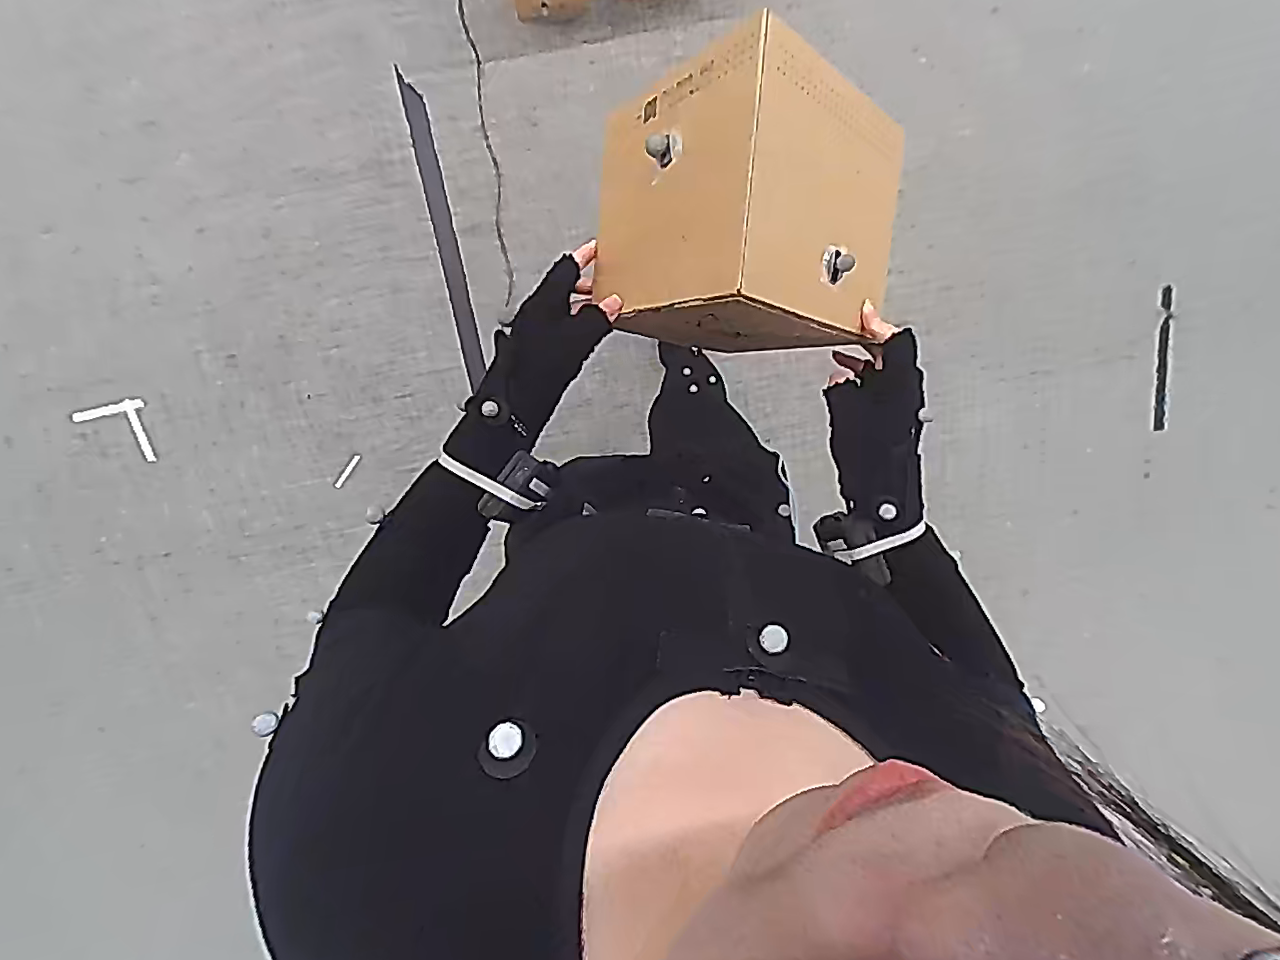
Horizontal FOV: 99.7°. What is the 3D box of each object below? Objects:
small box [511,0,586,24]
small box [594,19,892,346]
[{"bbox_3d":[-0.209,-1.116,1.135,0.168,0.176,0.179,-10,103,-1],"label":"small box"},{"bbox_3d":[0.083,-0.212,0.441,0.179,0.168,0.176,0,96,-39],"label":"small box"}]
